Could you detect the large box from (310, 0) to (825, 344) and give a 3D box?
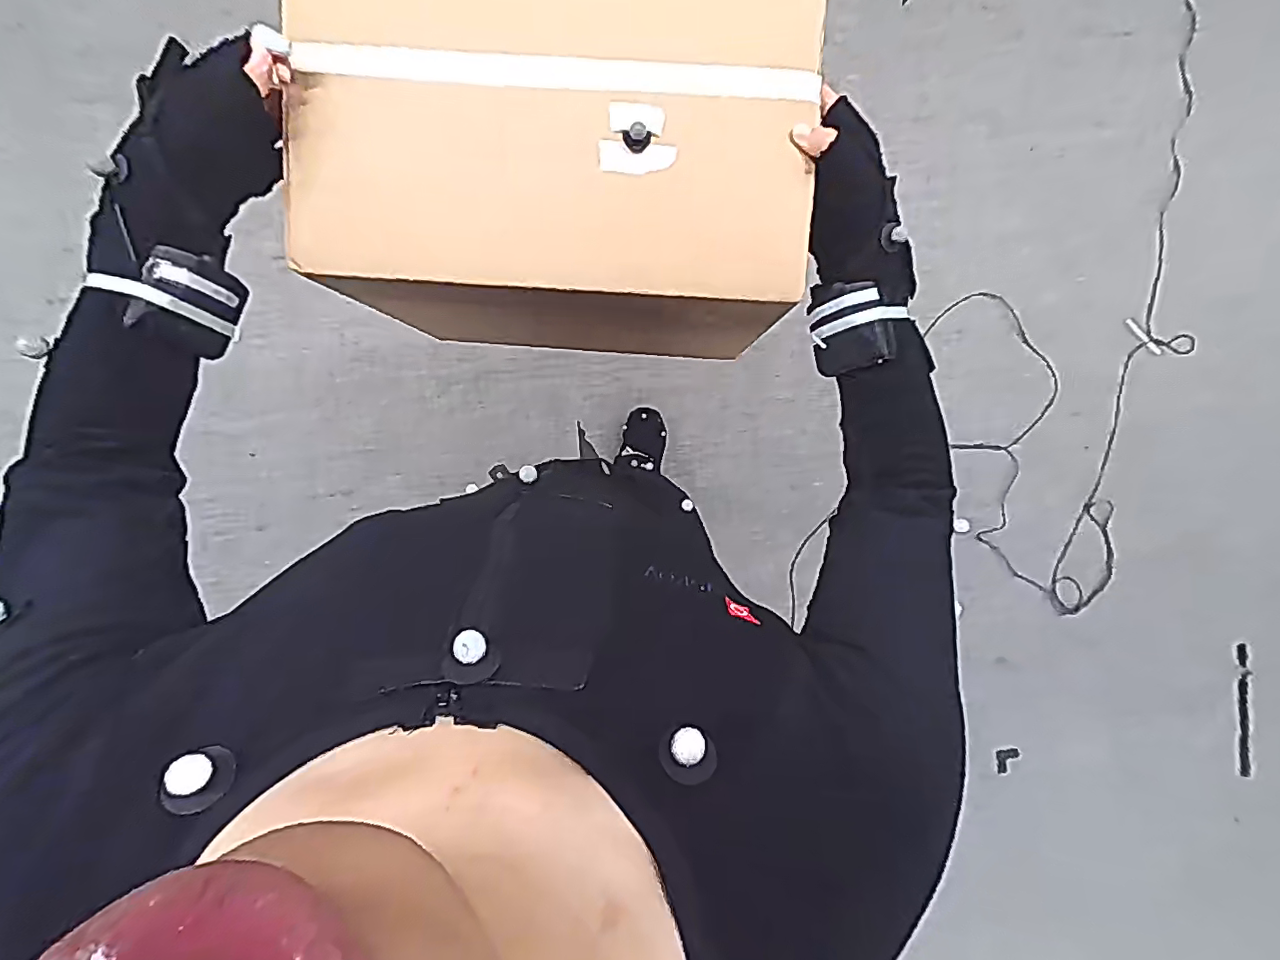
[{"bbox_3d":[-0.060,-0.330,0.571,0.408,0.320,0.320,3,95,-1],"label":"large box"}]
